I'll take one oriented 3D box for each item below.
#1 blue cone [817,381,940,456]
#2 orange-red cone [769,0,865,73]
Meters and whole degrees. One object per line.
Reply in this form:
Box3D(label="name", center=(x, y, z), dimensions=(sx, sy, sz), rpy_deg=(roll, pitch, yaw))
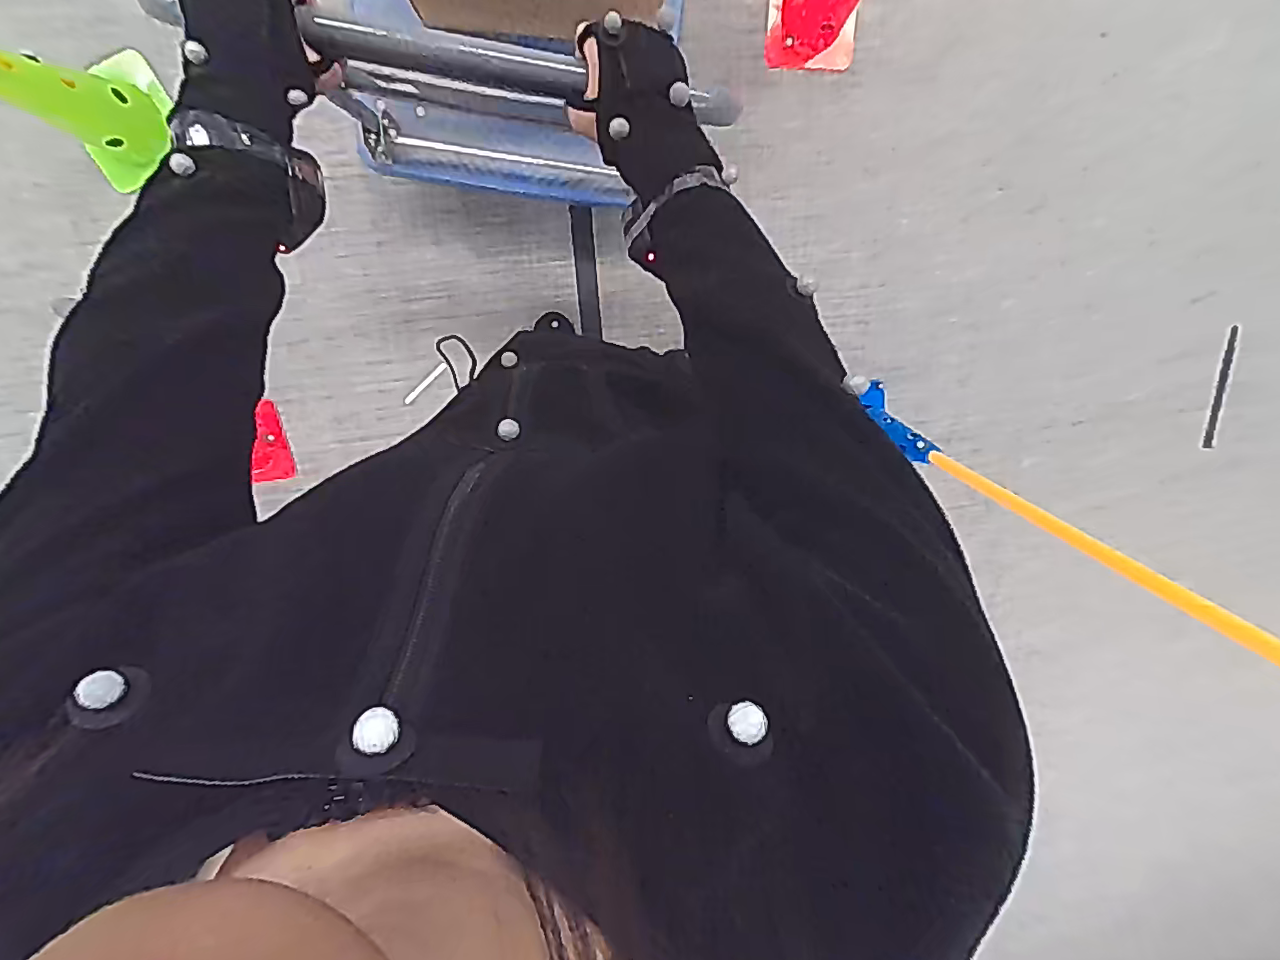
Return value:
Box3D(label="blue cone", center=(0.601, -0.117, 1.327), dimensions=(0.193, 0.380, 0.192), rpy_deg=(-11, 108, -4))
Box3D(label="orange-red cone", center=(0.406, -0.947, 1.006), dimensions=(0.199, 0.360, 0.198), rpy_deg=(-1, 109, -9))
